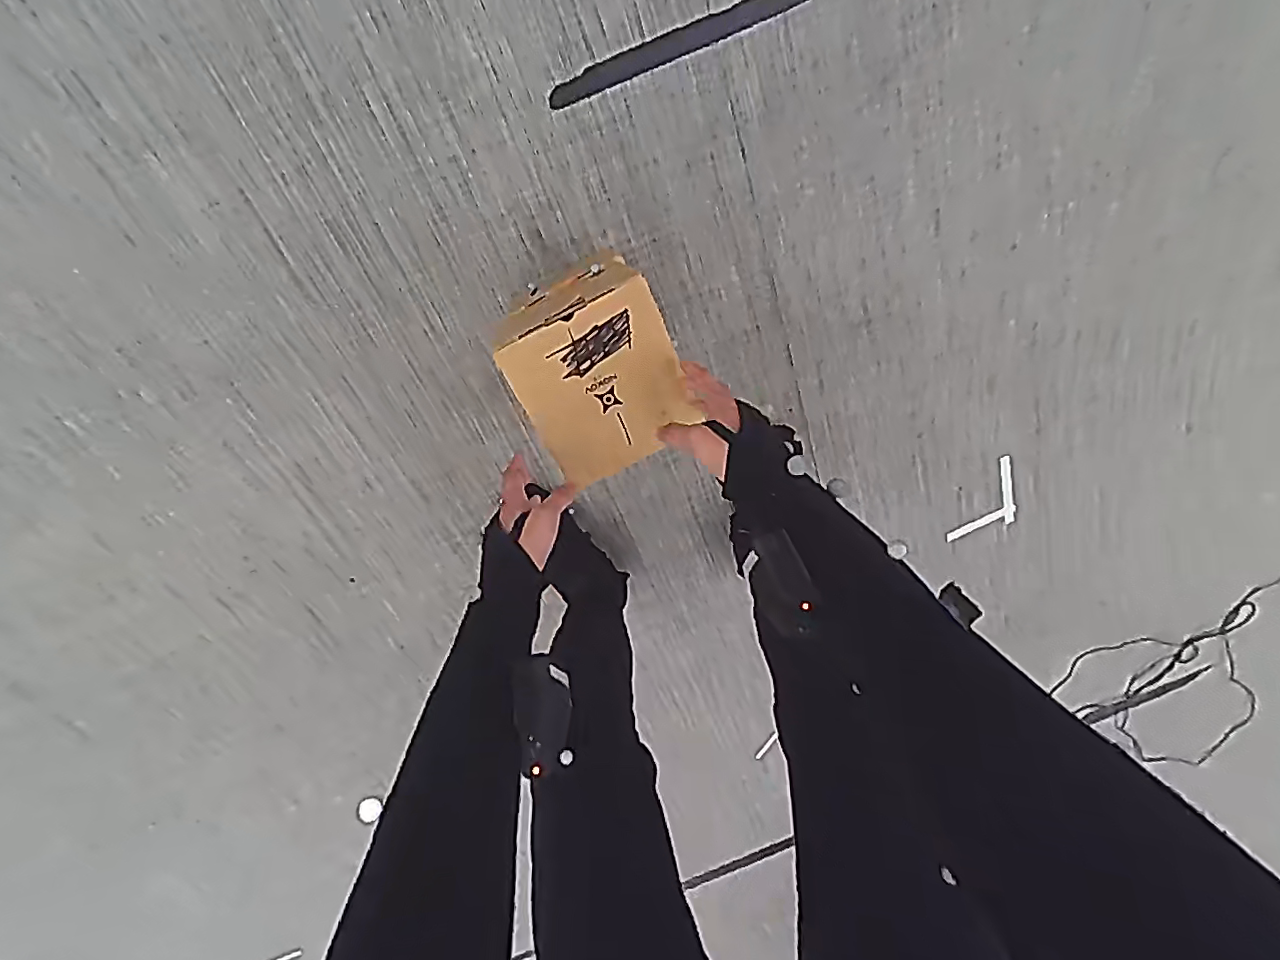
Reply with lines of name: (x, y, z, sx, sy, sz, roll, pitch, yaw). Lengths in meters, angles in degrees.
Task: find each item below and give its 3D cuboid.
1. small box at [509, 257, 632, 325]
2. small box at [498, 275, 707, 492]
small box: (-0.070, -0.198, 0.767, 0.168, 0.176, 0.179, -27, 117, 3)
small box: (-0.047, -0.122, 0.624, 0.168, 0.176, 0.179, -26, 118, 3)
